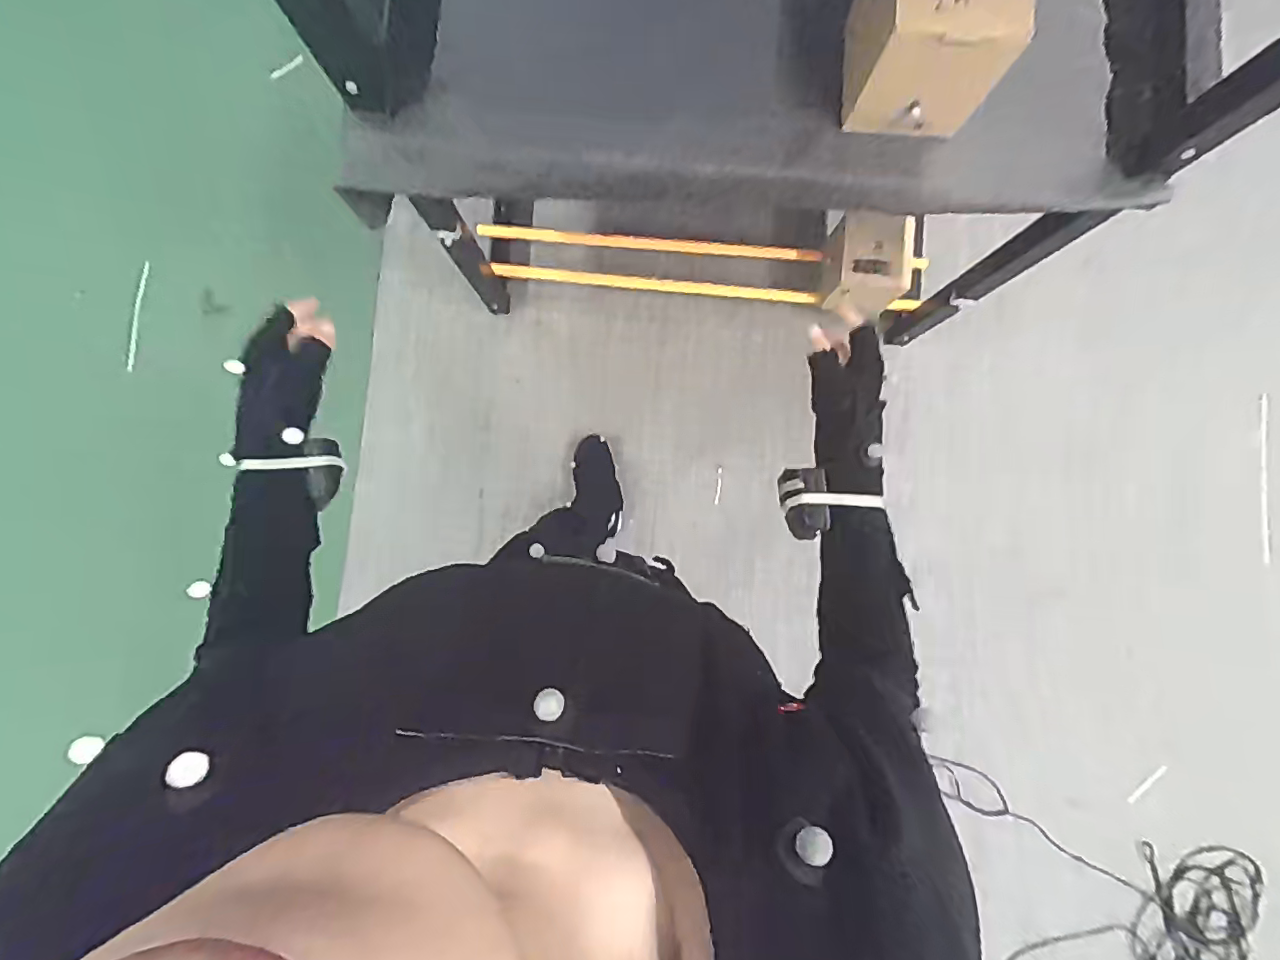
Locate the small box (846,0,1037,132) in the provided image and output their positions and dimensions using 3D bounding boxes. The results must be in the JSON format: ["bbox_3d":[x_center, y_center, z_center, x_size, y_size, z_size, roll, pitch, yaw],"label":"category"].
[{"bbox_3d":[0.387,-0.610,0.719,0.168,0.176,0.179,4,85,0],"label":"small box"}]
